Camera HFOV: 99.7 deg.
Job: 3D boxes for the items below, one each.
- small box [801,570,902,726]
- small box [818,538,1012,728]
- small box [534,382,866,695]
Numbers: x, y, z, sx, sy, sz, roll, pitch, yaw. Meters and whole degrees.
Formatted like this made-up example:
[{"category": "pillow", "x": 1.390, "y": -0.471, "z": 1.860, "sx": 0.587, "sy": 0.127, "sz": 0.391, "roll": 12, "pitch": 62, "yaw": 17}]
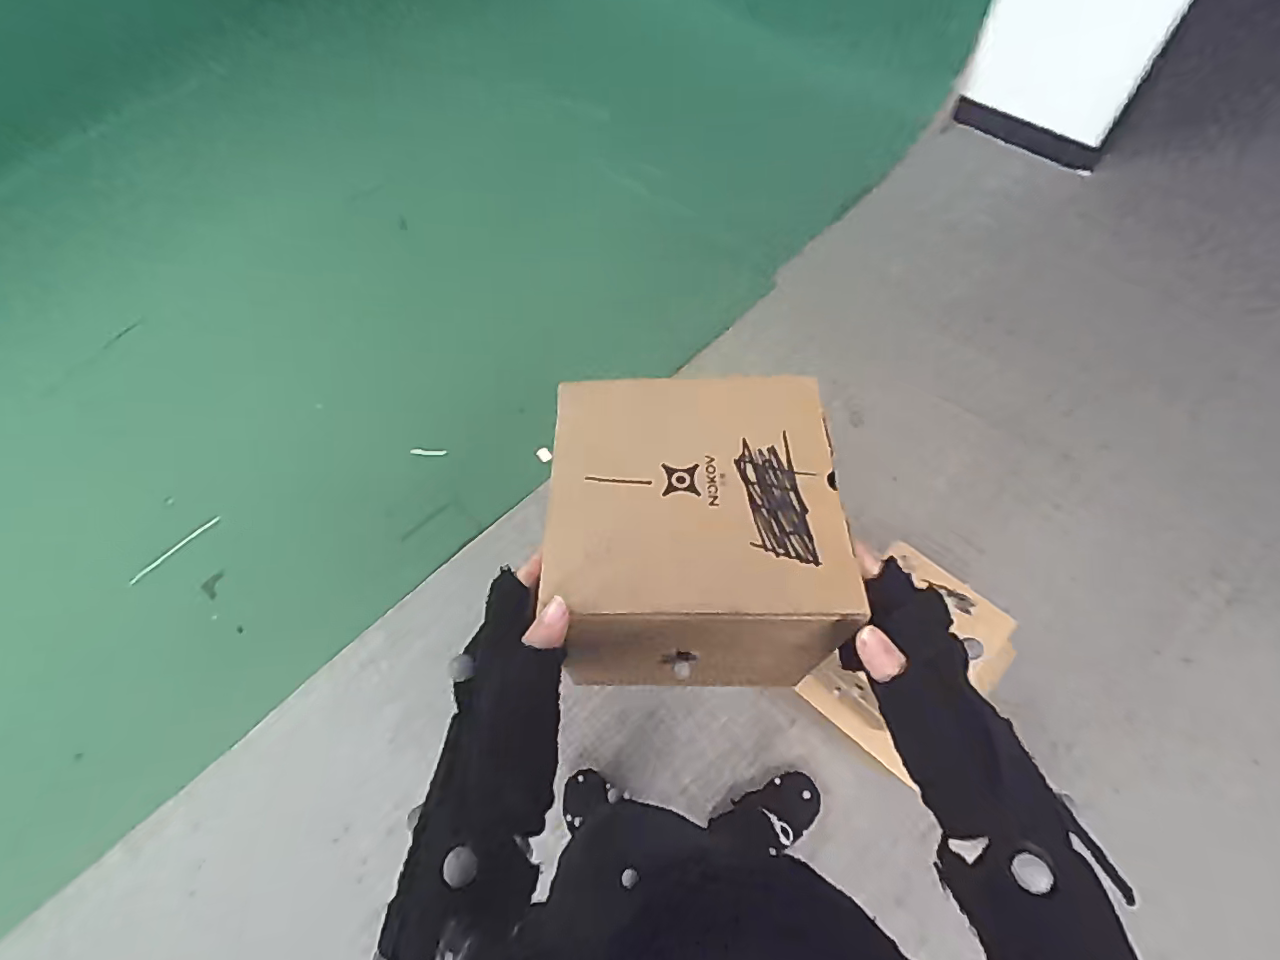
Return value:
[{"category": "small box", "x": 0.376, "y": 0.281, "z": 0.896, "sx": 0.179, "sy": 0.176, "sz": 0.168, "roll": 40, "pitch": 80, "yaw": 21}, {"category": "small box", "x": 0.356, "y": 0.214, "z": 0.748, "sx": 0.168, "sy": 0.176, "sz": 0.179, "roll": 40, "pitch": 80, "yaw": 23}, {"category": "small box", "x": 0.027, "y": 0.049, "z": 0.386, "sx": 0.179, "sy": 0.176, "sz": 0.168, "roll": -3, "pitch": 58, "yaw": -2}]
